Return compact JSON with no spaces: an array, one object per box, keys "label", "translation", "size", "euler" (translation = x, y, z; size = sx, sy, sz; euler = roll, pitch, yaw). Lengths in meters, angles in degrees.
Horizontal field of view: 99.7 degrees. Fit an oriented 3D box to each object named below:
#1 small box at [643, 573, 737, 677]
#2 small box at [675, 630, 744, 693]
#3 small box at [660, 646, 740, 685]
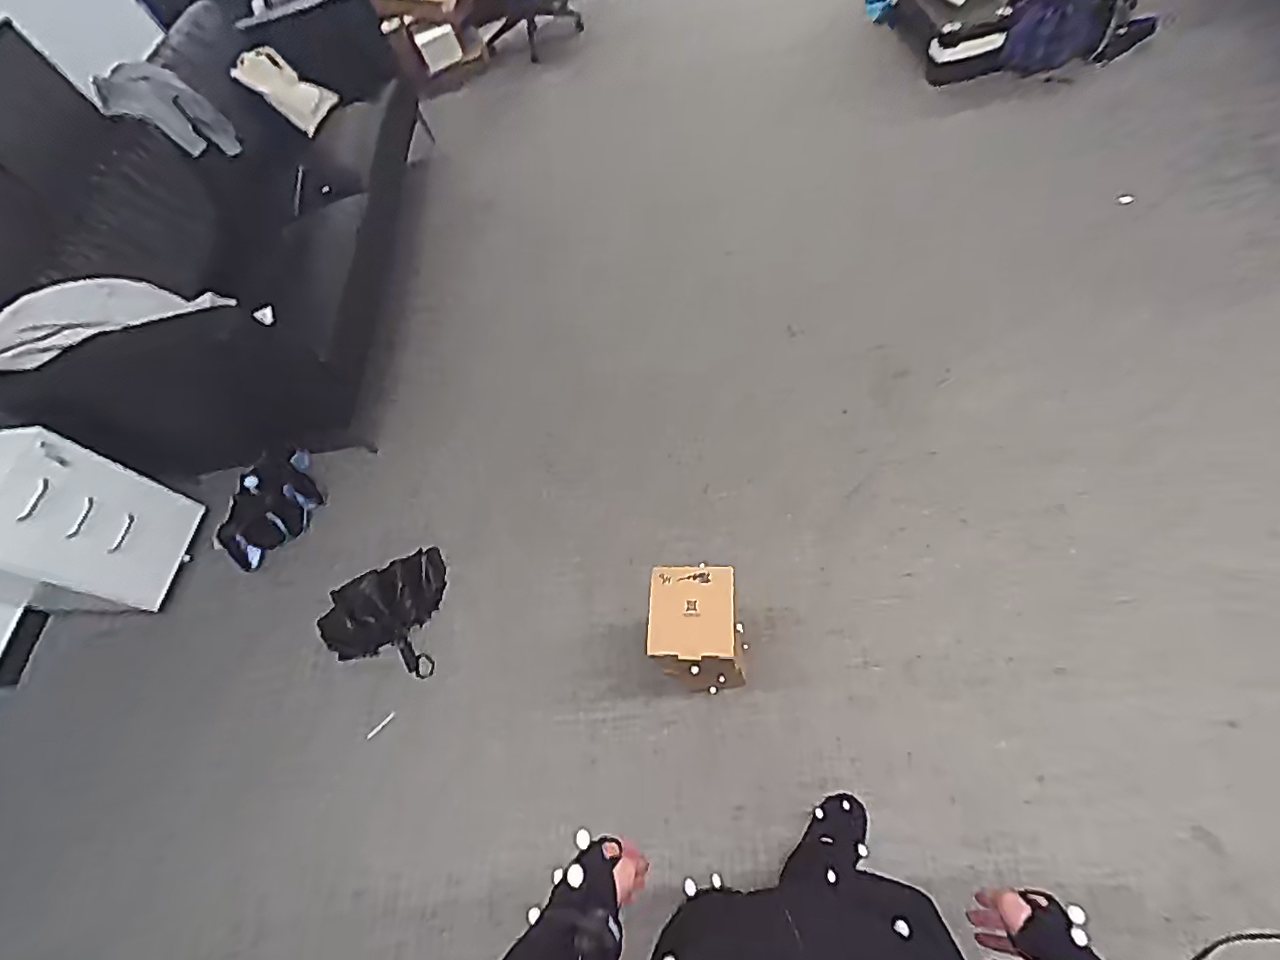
[{"label":"small box","translation":[0.108,0.296,1.089],"size":[0.168,0.176,0.179],"euler":[-1,64,12]},{"label":"small box","translation":[0.171,0.436,1.375],"size":[0.168,0.176,0.179],"euler":[-9,62,9]},{"label":"small box","translation":[0.136,0.367,1.233],"size":[0.168,0.176,0.179],"euler":[-7,61,9]}]
